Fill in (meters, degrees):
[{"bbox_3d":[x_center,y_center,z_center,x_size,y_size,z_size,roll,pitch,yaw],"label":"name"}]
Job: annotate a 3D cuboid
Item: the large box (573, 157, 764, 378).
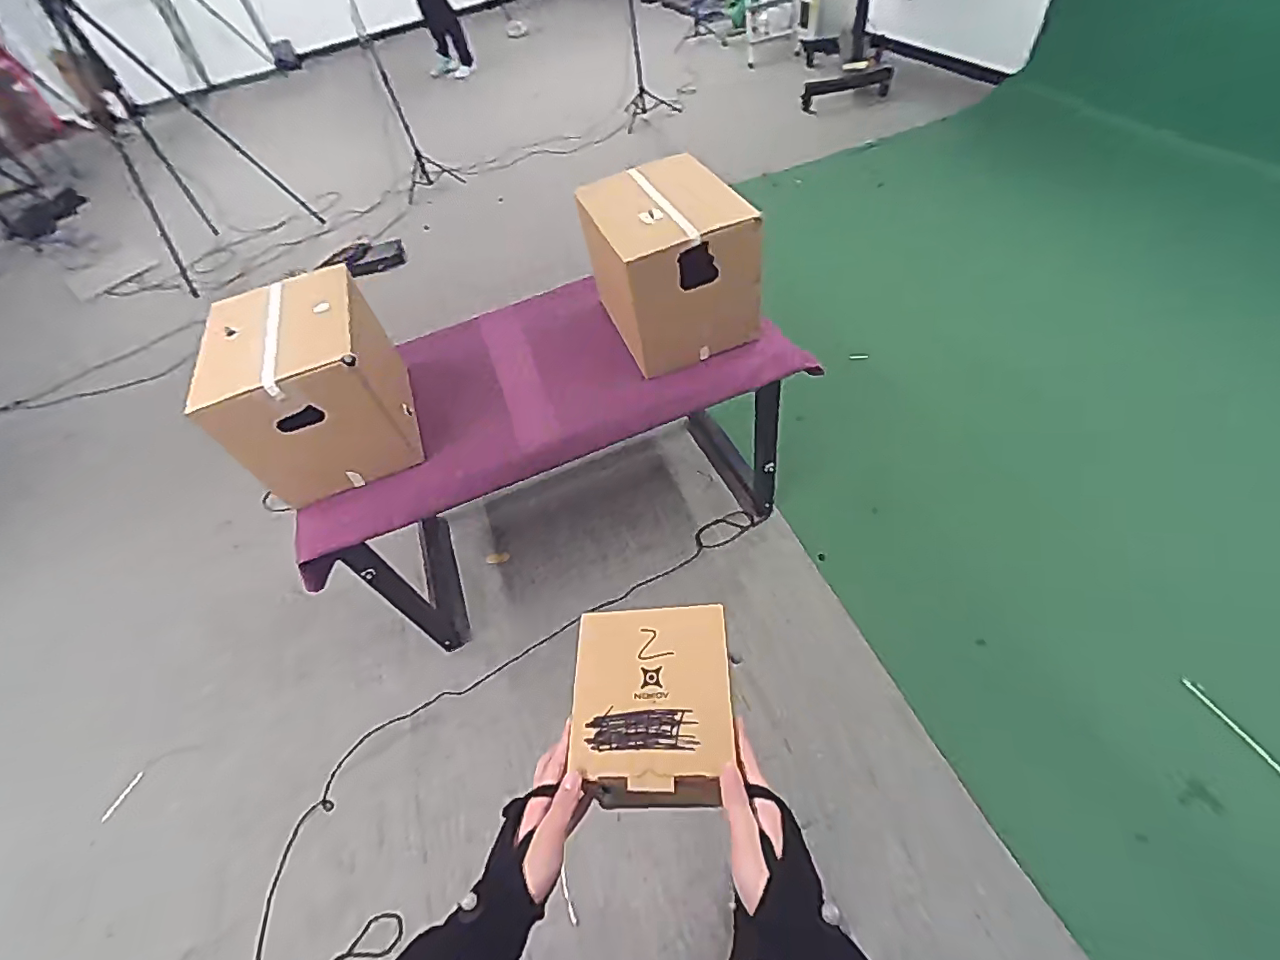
[{"bbox_3d":[0.065,-0.525,1.330,0.320,0.320,0.408,-22,52,-6],"label":"large box"}]
